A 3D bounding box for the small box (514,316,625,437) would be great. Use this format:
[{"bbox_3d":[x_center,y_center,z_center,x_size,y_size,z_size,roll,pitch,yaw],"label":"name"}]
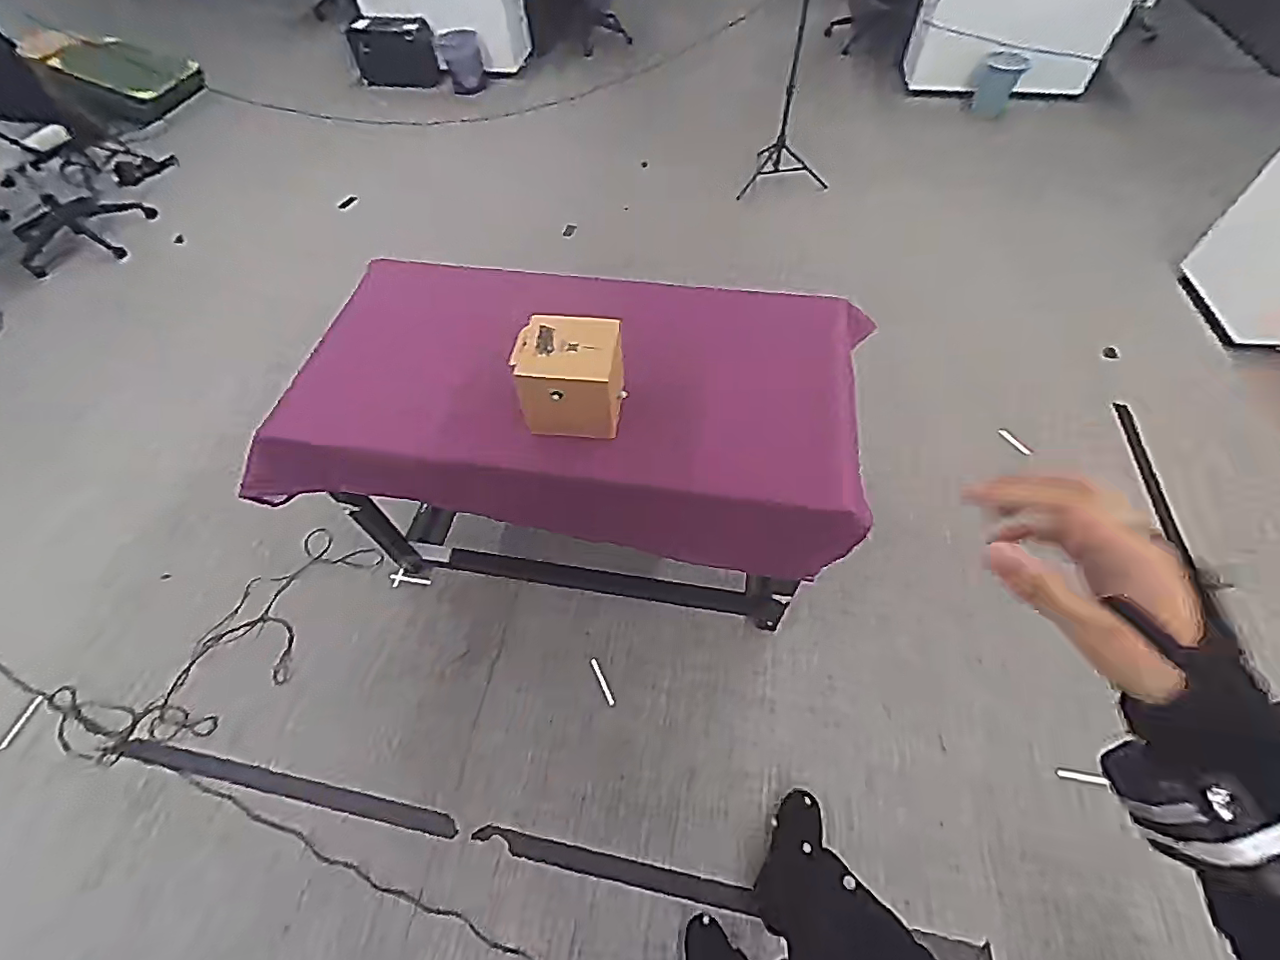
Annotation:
[{"bbox_3d":[-0.128,-0.201,1.066,0.179,0.176,0.168,4,57,5],"label":"small box"}]
